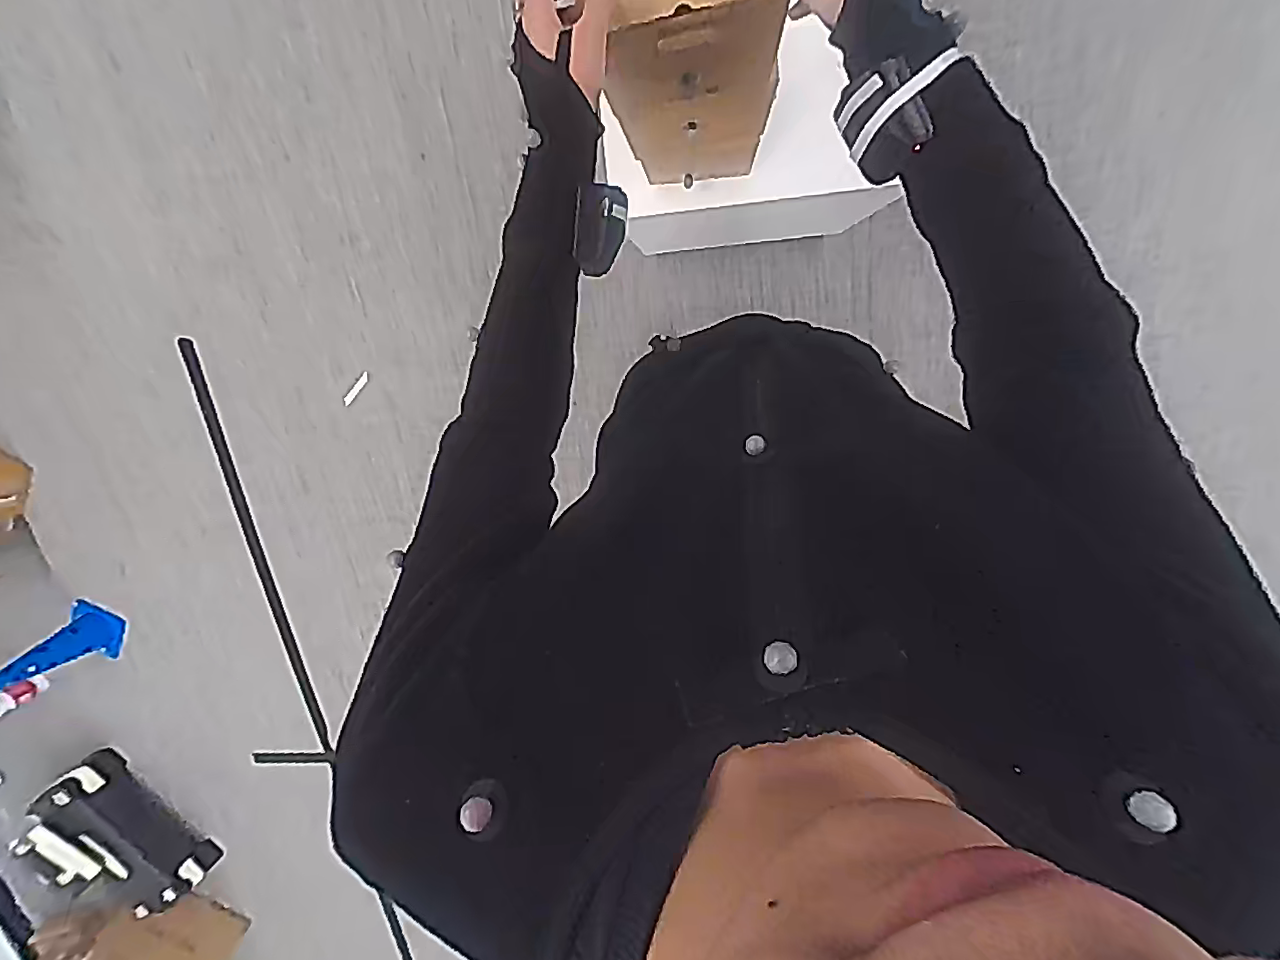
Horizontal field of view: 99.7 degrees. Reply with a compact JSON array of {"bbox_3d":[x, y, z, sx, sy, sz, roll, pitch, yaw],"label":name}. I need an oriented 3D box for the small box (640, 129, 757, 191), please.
[{"bbox_3d":[0.078,-0.542,0.783,0.168,0.176,0.179,-3,106,7],"label":"small box"}]

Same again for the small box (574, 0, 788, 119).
[{"bbox_3d":[0.030,-0.455,0.470,0.168,0.176,0.179,-6,105,9],"label":"small box"}]

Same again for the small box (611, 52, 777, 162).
[{"bbox_3d":[0.055,-0.496,0.628,0.179,0.176,0.168,-6,104,9],"label":"small box"}]
